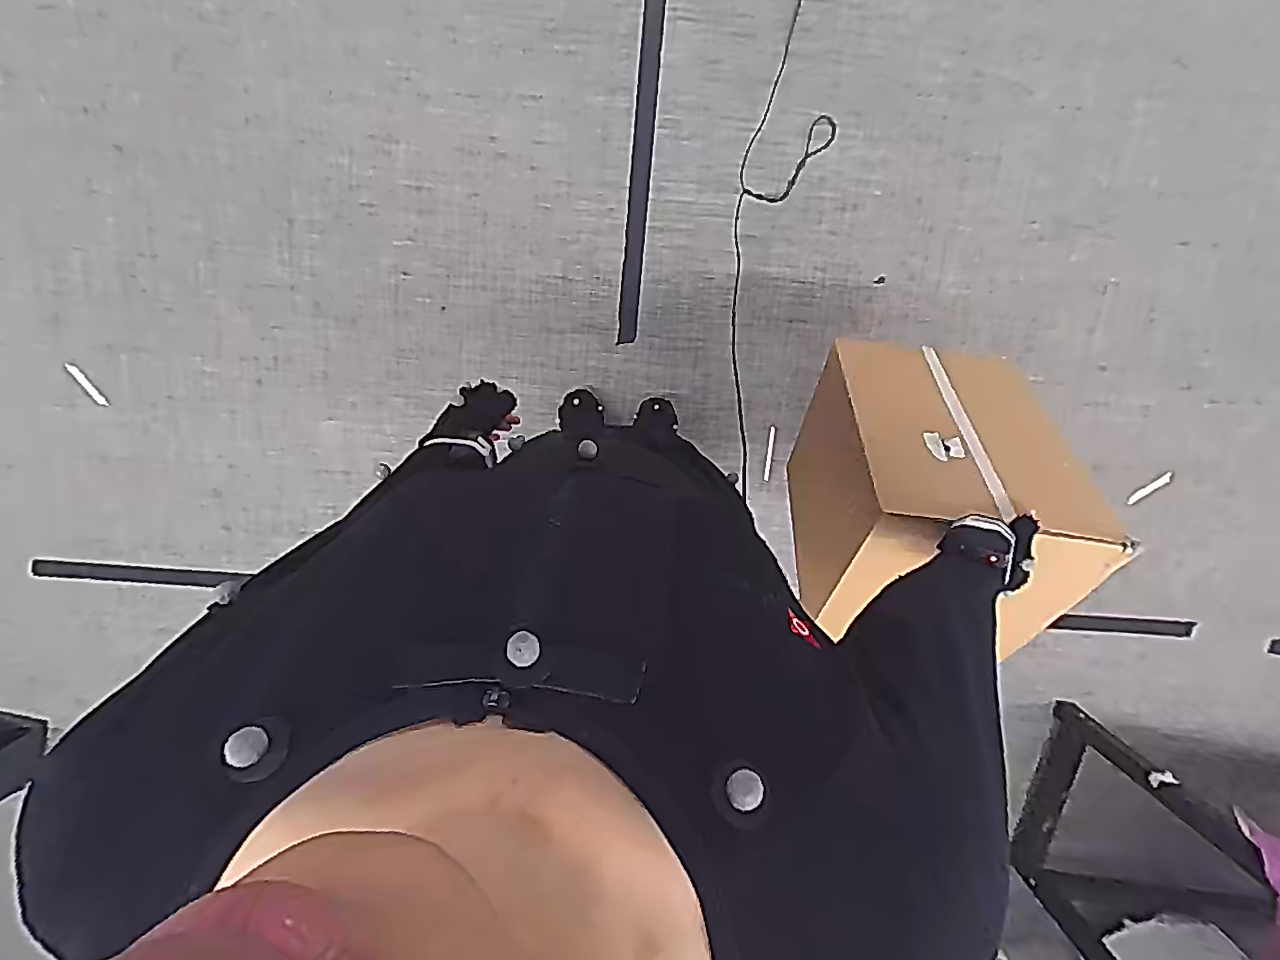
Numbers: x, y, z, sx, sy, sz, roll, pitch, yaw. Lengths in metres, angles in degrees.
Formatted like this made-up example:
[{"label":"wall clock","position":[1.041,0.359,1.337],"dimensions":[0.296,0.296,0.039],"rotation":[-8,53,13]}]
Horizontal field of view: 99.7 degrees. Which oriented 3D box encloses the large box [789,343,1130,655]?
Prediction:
[{"label":"large box","position":[0.462,0.026,0.911],"dimensions":[0.320,0.408,0.320],"rotation":[7,137,1]}]
